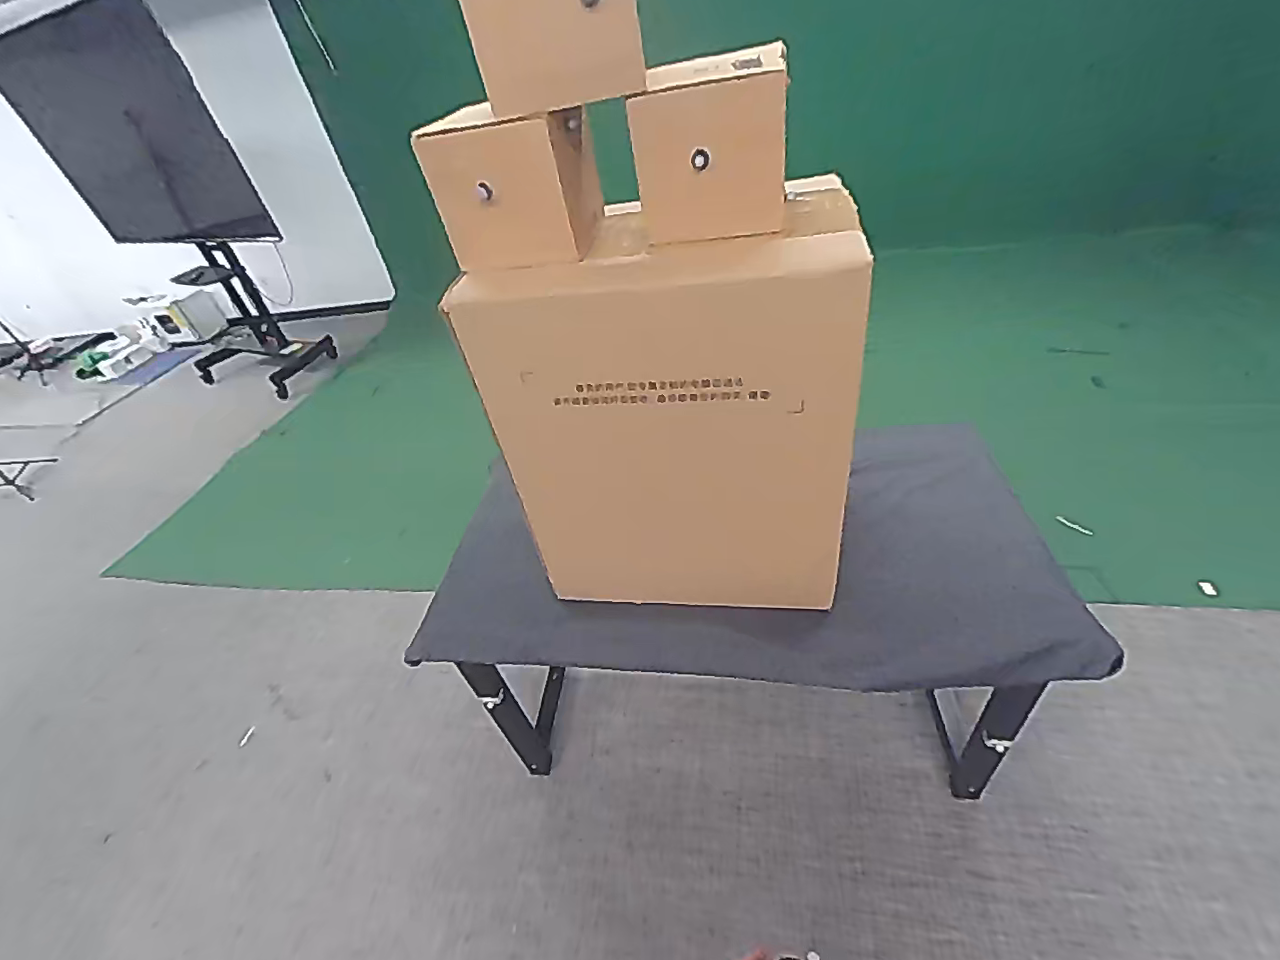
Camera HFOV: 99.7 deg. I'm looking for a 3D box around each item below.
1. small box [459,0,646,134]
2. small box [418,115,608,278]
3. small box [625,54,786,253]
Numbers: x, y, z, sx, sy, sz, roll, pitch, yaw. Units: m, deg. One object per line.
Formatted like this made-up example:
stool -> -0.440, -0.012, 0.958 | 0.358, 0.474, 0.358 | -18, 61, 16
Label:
small box -> -0.089, -0.514, 0.610 | 0.179, 0.176, 0.168 | -8, 41, 7
small box -> -0.158, -0.390, 0.737 | 0.179, 0.176, 0.168 | 0, 44, 14
small box -> 0.096, -0.411, 0.692 | 0.179, 0.176, 0.168 | -1, 44, 15
